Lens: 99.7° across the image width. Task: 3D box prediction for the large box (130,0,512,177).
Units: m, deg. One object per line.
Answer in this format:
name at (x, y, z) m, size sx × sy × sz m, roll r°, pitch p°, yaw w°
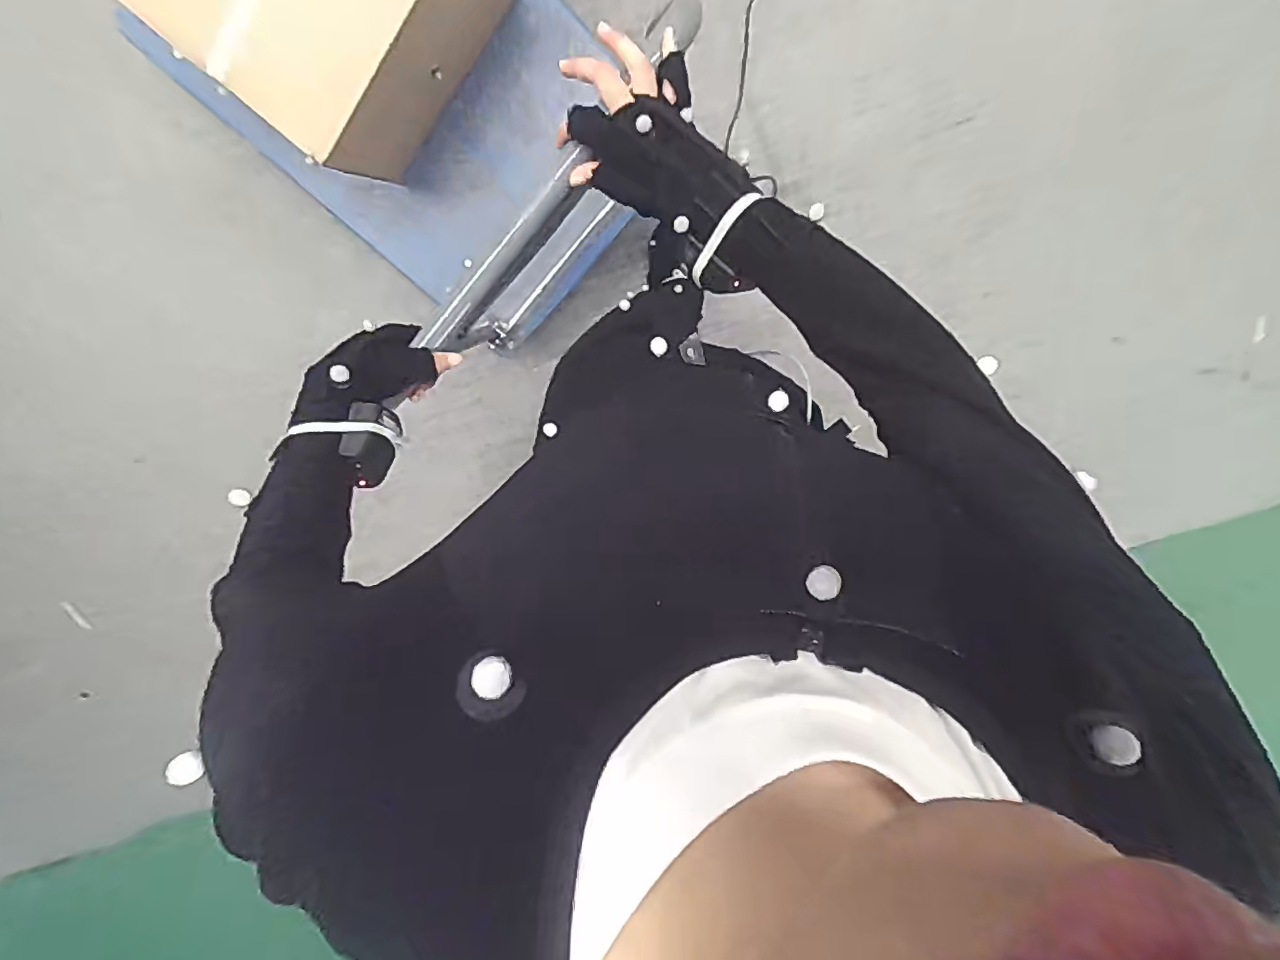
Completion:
large box at (-0.442, -0.752, 0.825) m, size 0.320 × 0.320 × 0.408 m, roll 39°, pitch 108°, yaw -17°
